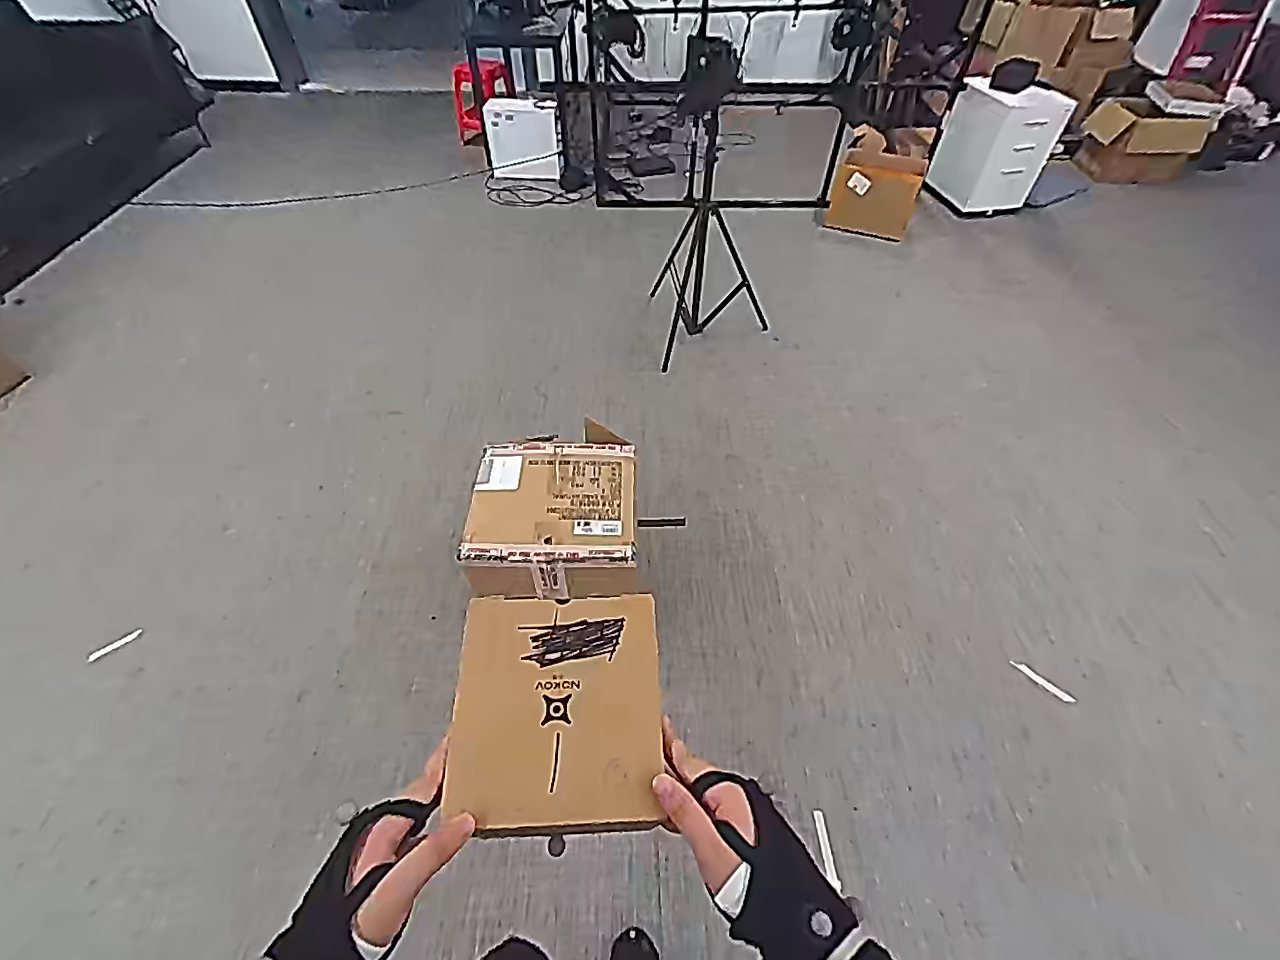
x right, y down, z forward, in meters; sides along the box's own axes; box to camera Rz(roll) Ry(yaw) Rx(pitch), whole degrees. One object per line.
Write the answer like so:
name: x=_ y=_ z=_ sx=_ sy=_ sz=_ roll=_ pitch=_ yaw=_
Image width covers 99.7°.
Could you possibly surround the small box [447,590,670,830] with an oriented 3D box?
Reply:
small box: x=-0.066 y=0.218 z=0.505 sx=0.168 sy=0.176 sz=0.179 roll=0 pitch=56 yaw=-4
